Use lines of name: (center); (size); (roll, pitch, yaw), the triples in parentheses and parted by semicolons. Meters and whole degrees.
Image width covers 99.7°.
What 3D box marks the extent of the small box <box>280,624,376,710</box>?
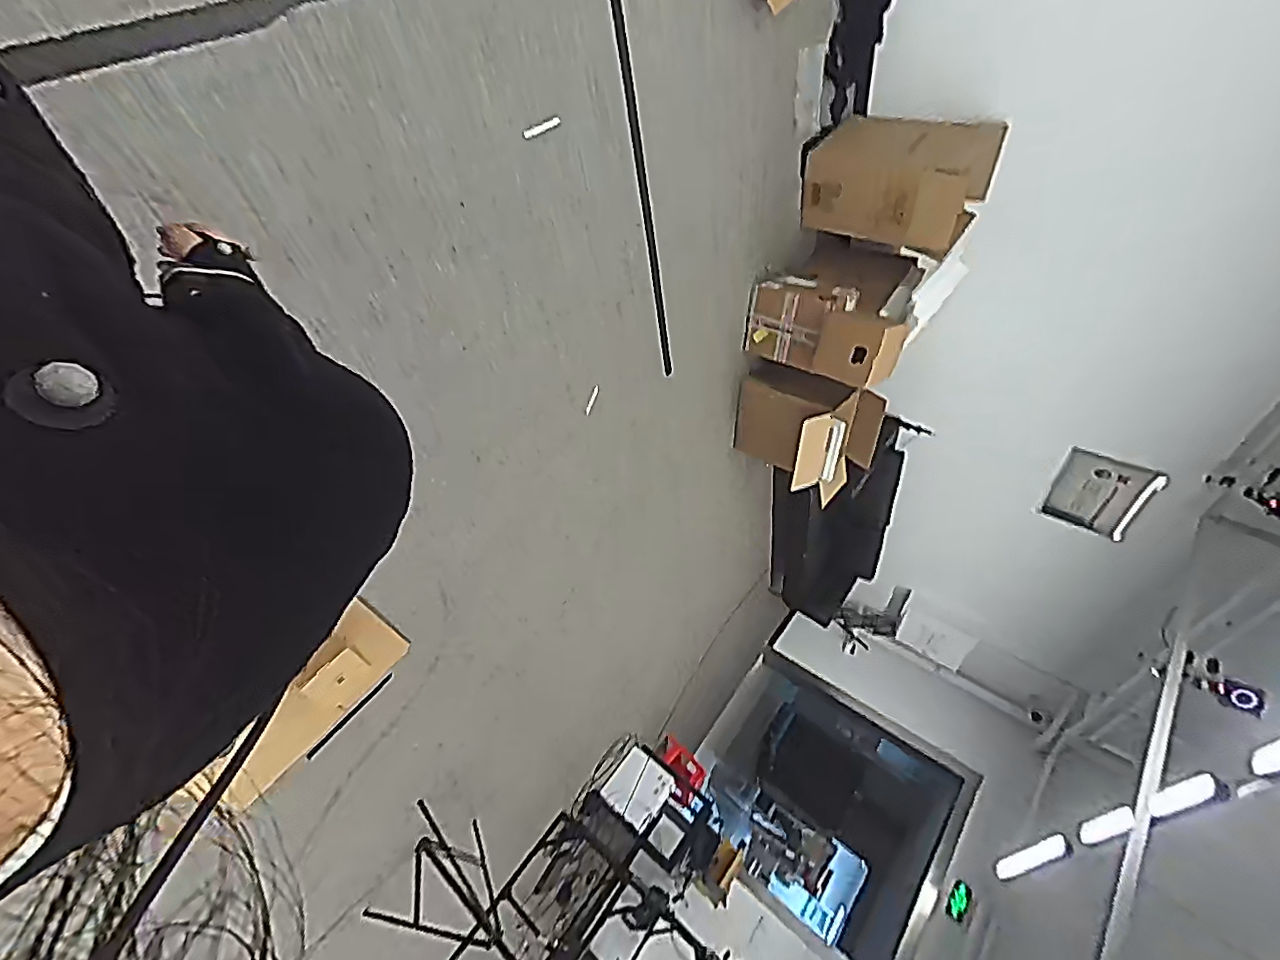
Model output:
small box: (-0.987, 0.582, 1.705); (0.168, 0.176, 0.179); (-45, 145, -25)
